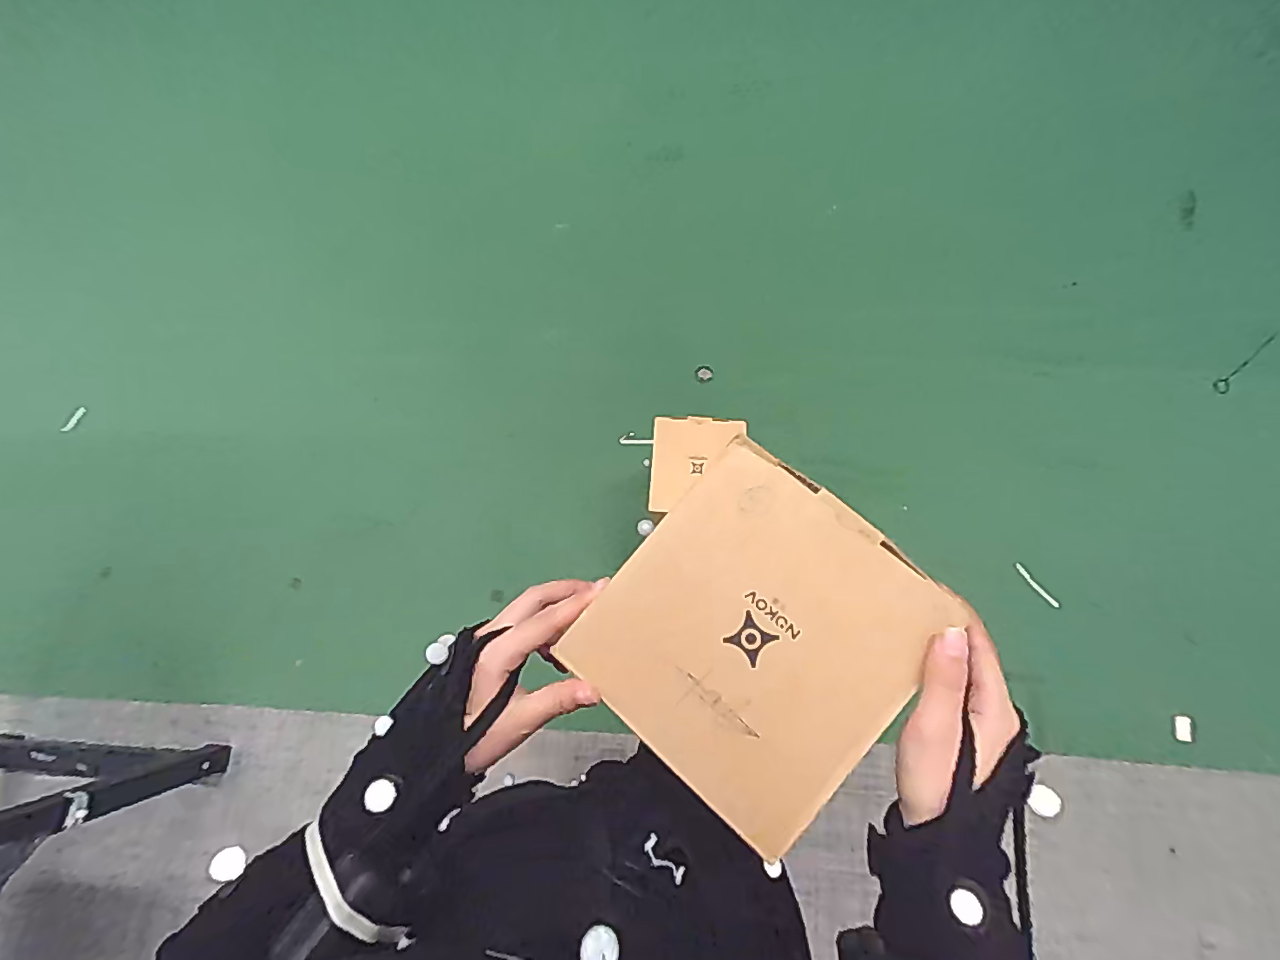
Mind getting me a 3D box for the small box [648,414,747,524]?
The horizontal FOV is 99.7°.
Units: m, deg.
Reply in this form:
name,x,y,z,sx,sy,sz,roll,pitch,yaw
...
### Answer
name,x,y,z,sx,sy,sz,roll,pitch,yaw
small box,0.110,-0.014,1.020,0.168,0.176,0.179,3,78,6
